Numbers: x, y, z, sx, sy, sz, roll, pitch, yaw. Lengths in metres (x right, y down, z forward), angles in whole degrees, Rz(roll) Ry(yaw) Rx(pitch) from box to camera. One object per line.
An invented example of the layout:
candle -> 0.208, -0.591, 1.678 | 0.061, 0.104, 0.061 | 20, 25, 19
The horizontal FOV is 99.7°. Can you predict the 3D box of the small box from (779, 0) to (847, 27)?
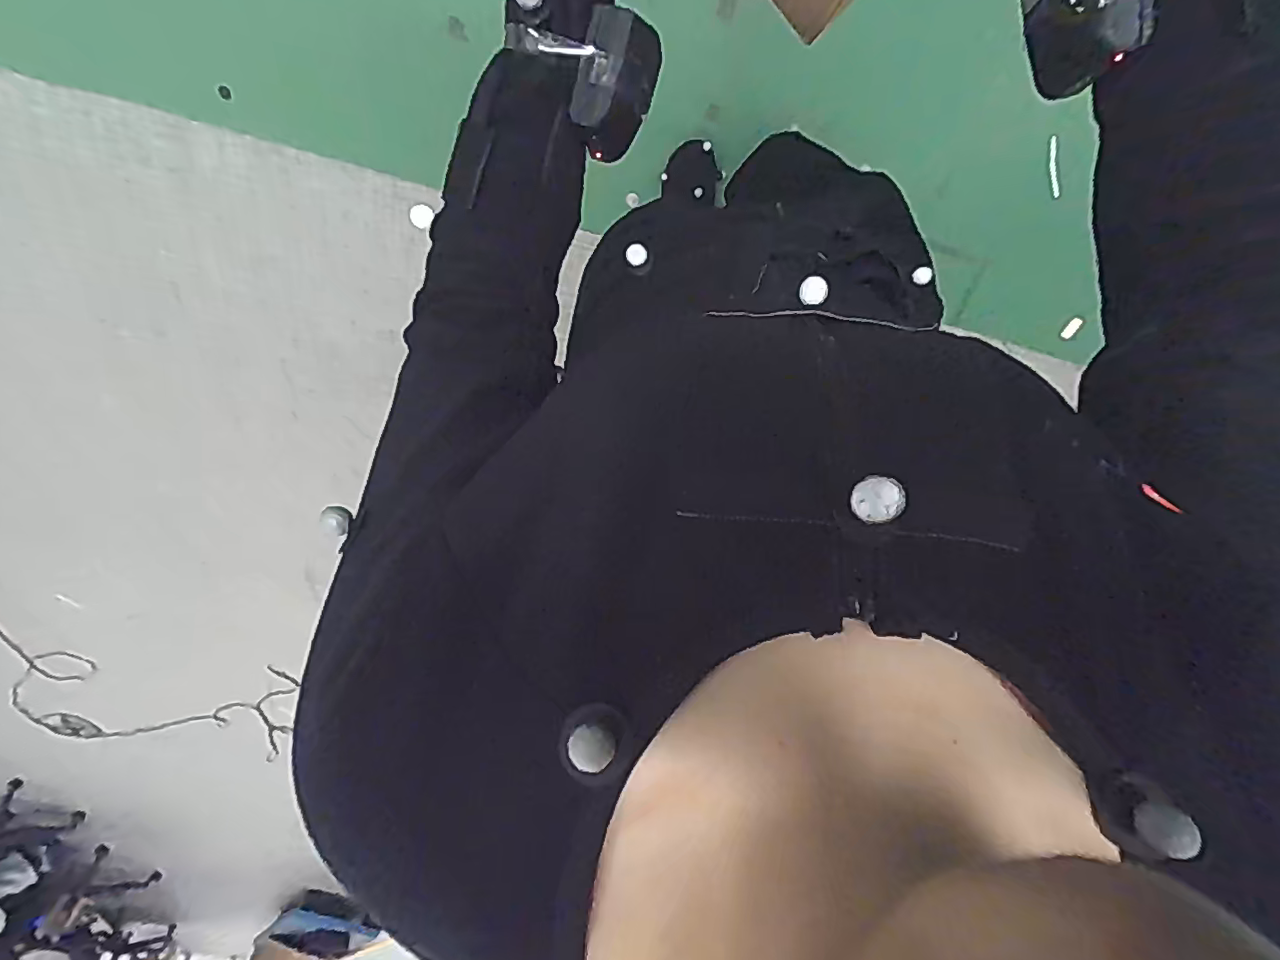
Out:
small box -> 0.101, -0.355, 0.230 | 0.168, 0.176, 0.179 | 41, 112, -14
